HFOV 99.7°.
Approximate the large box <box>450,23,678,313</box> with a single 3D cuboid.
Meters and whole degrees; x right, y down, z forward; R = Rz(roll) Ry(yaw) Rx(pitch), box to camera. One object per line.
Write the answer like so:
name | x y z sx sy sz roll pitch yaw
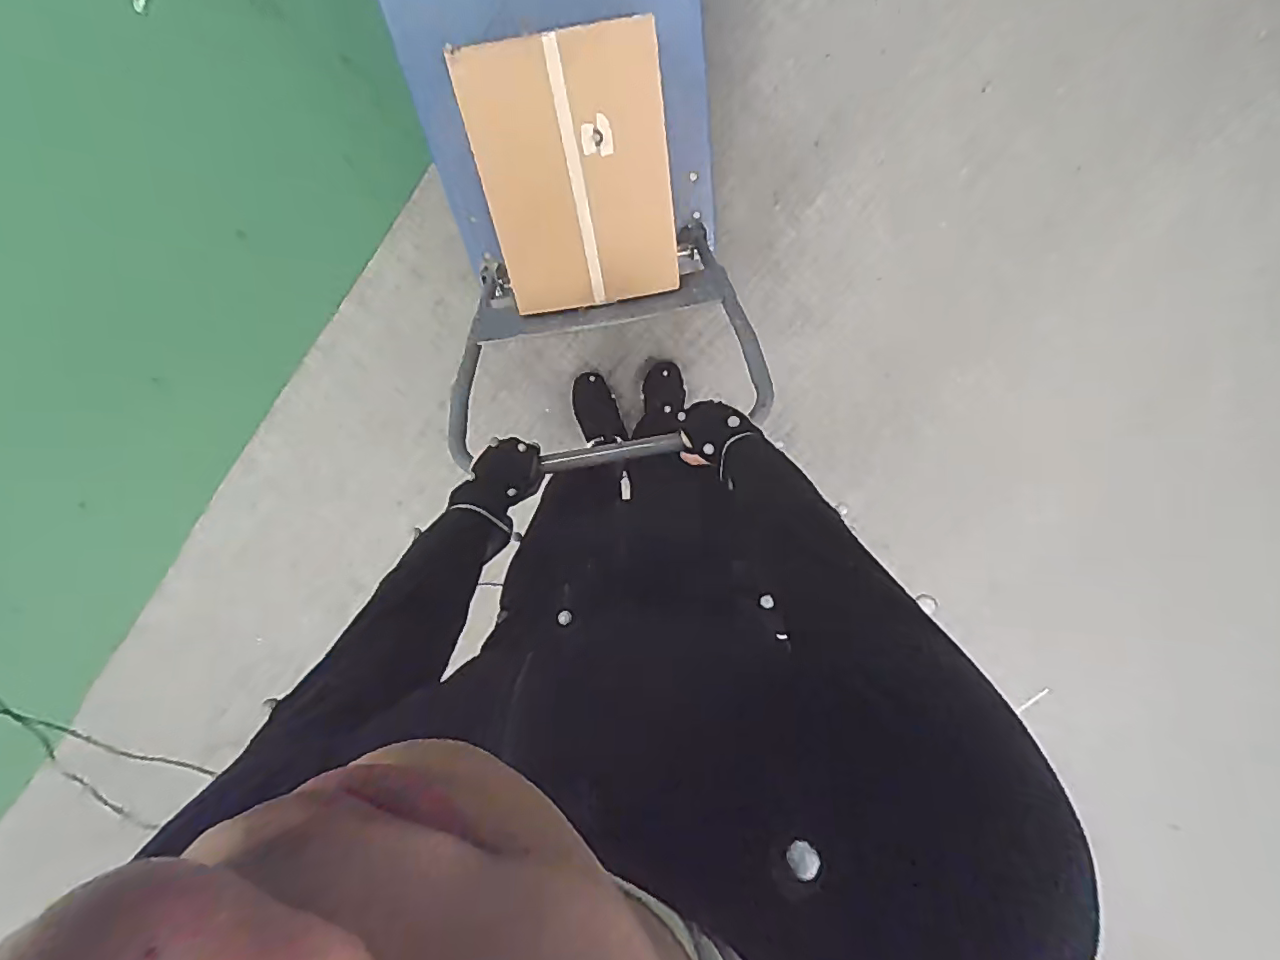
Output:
large box | -0.115 -0.591 1.044 0.320 0.320 0.408 -9 128 2
